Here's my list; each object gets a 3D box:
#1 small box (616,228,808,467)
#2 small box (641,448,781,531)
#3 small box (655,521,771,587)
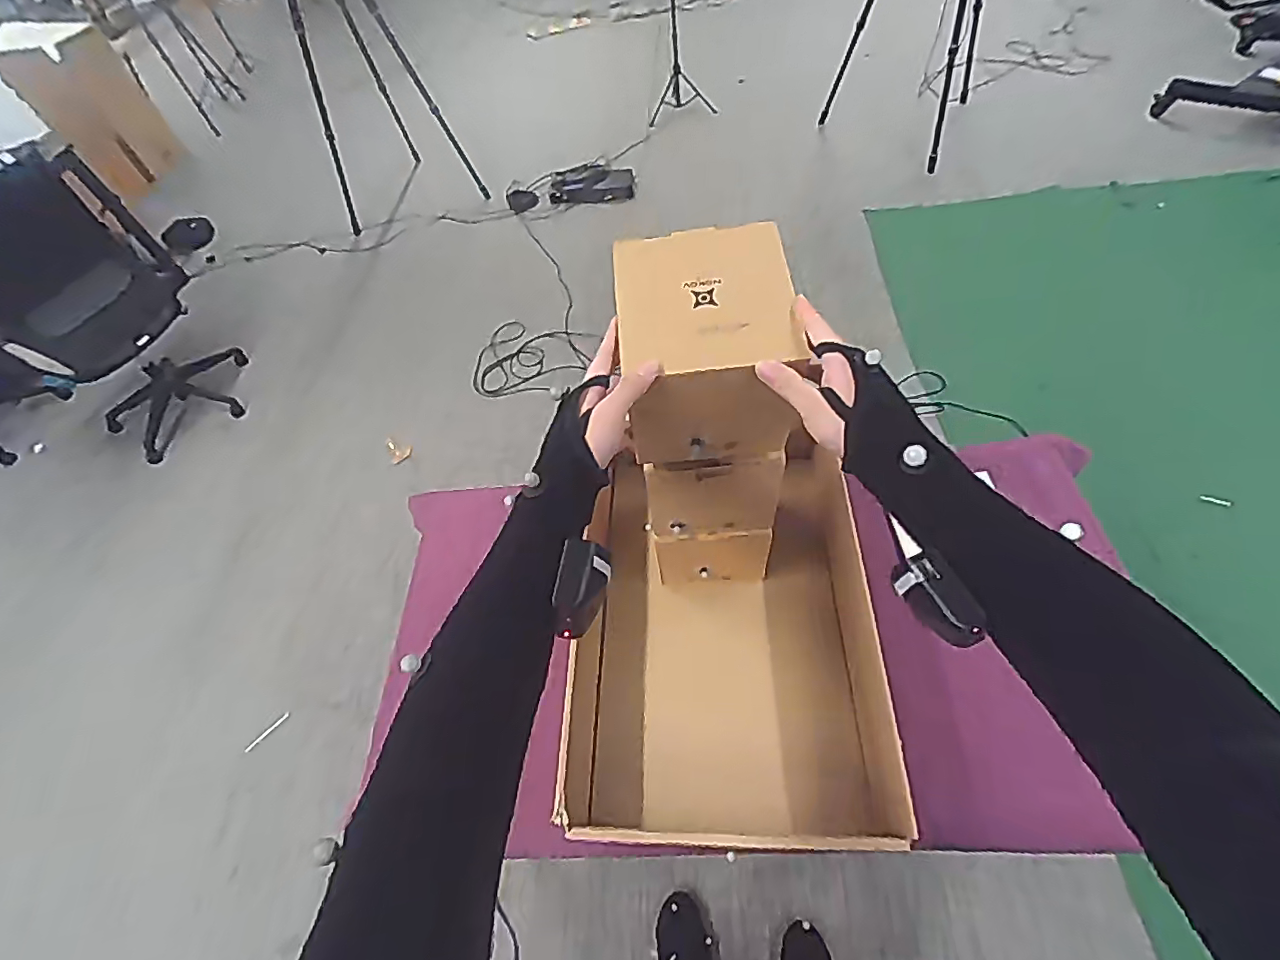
[{"bbox_3d":[0.066,-0.133,0.578,0.168,0.176,0.179,-6,65,3],"label":"small box"},{"bbox_3d":[0.091,-0.040,0.737,0.168,0.176,0.179,-4,56,4],"label":"small box"},{"bbox_3d":[0.109,0.057,0.869,0.168,0.176,0.179,-4,57,5],"label":"small box"}]
